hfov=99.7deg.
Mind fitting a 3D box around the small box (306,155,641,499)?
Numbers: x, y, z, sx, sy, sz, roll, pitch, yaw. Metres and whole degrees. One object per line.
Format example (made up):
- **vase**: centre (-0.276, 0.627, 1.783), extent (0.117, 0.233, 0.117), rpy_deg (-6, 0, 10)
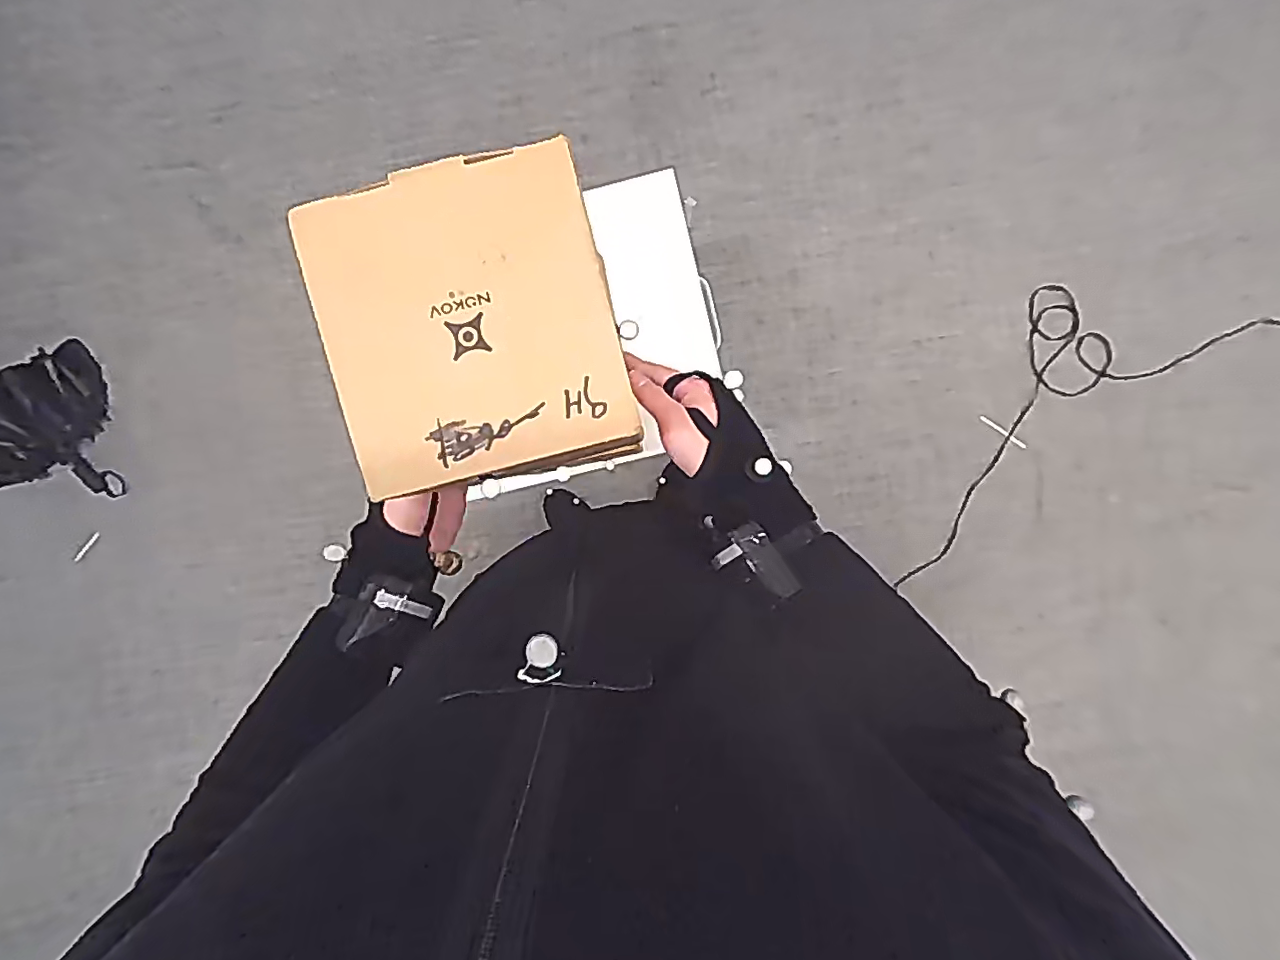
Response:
- **small box**: centre (-0.098, -0.090, 0.397), extent (0.168, 0.176, 0.179), rpy_deg (-14, 91, 1)
